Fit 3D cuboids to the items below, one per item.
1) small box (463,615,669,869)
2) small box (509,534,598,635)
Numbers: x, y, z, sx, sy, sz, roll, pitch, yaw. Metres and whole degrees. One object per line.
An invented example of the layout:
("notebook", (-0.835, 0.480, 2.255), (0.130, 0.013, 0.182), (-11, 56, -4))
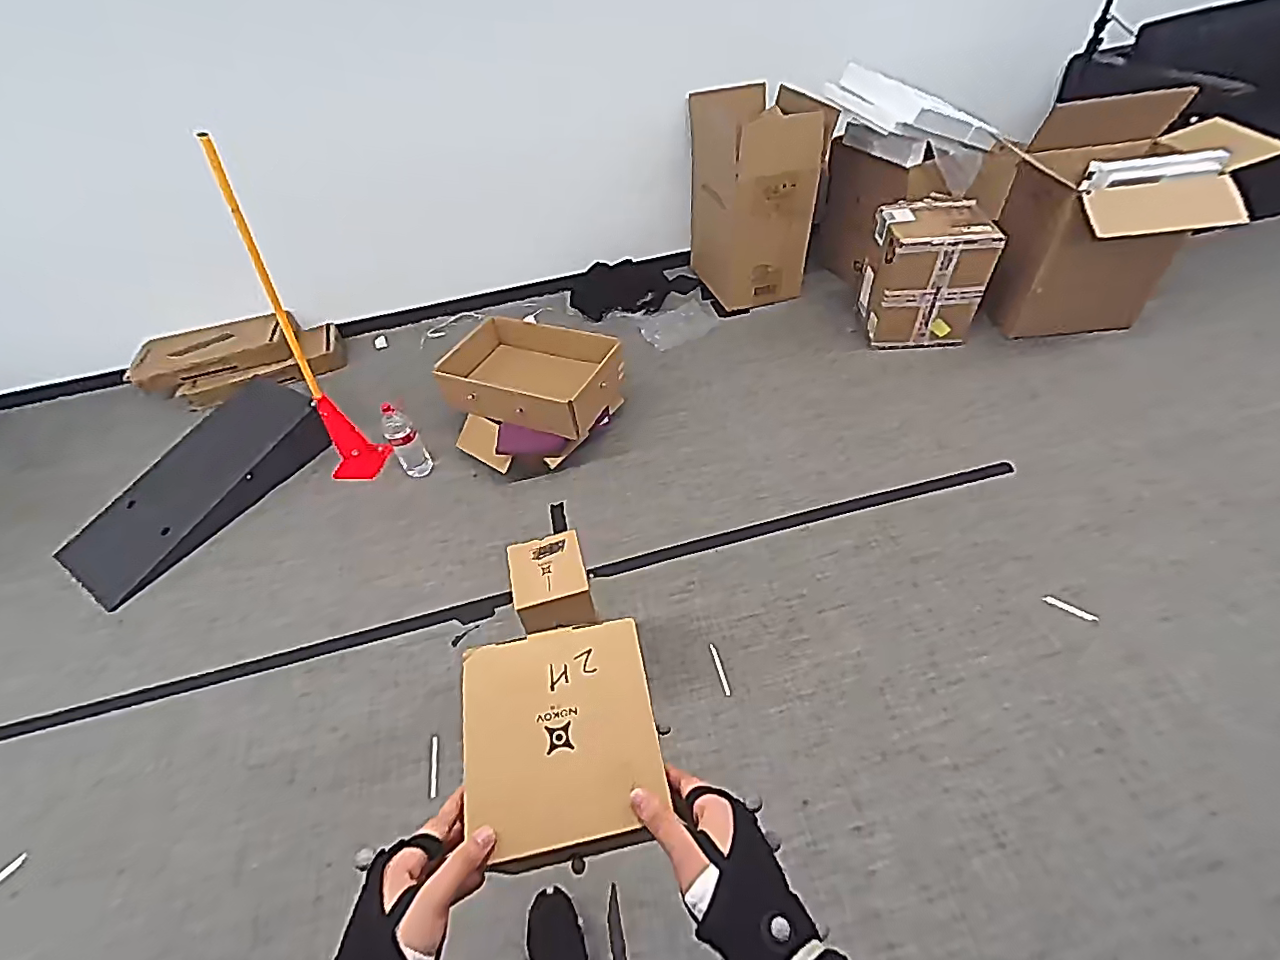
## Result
("small box", (-0.068, 0.261, 0.533), (0.168, 0.176, 0.179), (-11, 53, -6))
("small box", (-0.201, 0.260, 1.274), (0.168, 0.176, 0.179), (-15, 47, -7))
